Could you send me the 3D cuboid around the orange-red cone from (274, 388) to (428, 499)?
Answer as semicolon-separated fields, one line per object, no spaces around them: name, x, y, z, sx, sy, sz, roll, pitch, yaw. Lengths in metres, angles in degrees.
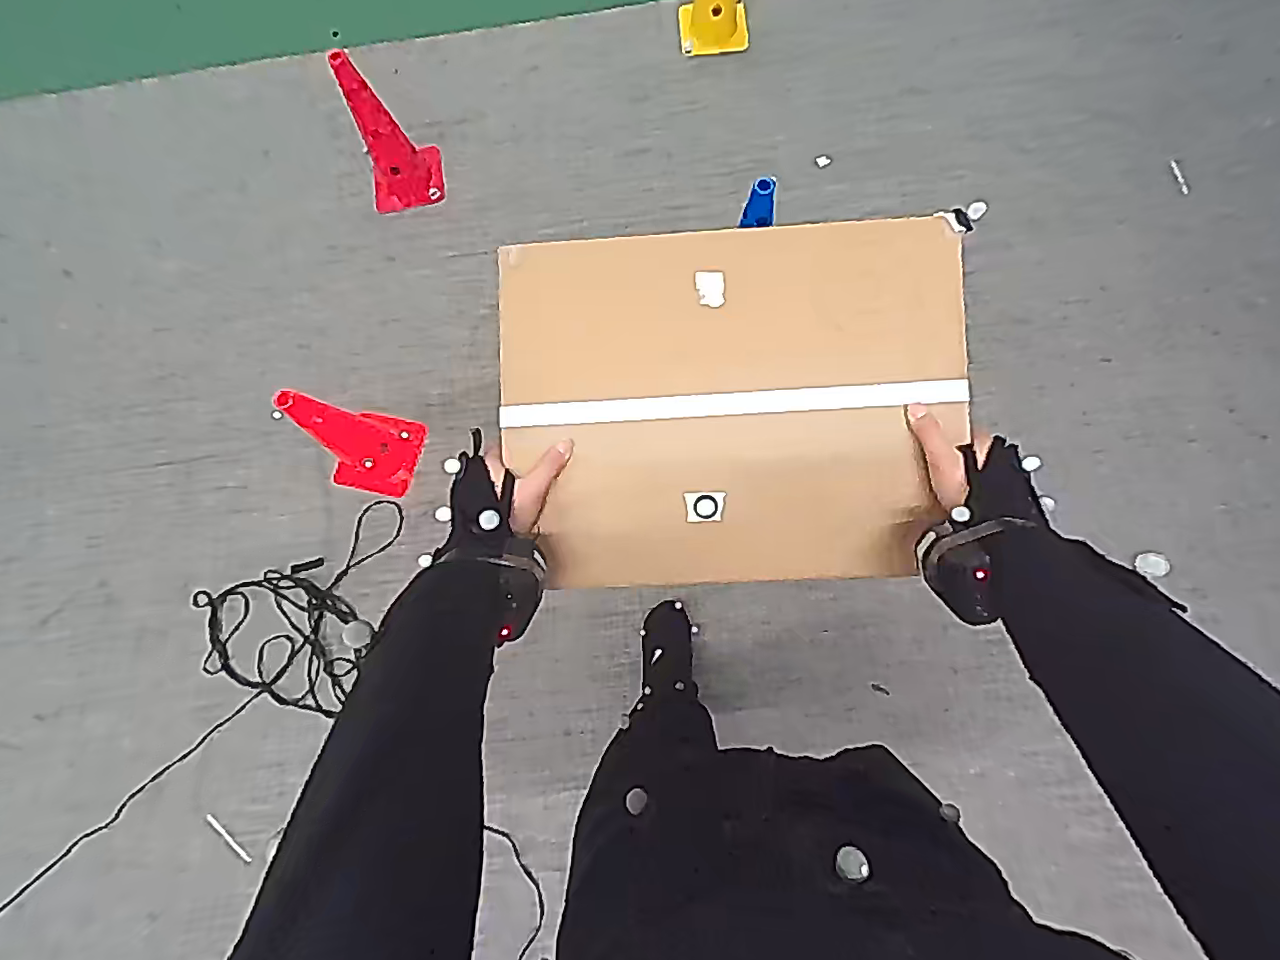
orange-red cone;-0.665;-0.108;1.197;0.199;0.360;0.198;12;75;9

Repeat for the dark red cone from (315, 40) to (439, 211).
dark red cone;-0.693;-0.919;1.400;0.202;0.394;0.201;-14;71;1
